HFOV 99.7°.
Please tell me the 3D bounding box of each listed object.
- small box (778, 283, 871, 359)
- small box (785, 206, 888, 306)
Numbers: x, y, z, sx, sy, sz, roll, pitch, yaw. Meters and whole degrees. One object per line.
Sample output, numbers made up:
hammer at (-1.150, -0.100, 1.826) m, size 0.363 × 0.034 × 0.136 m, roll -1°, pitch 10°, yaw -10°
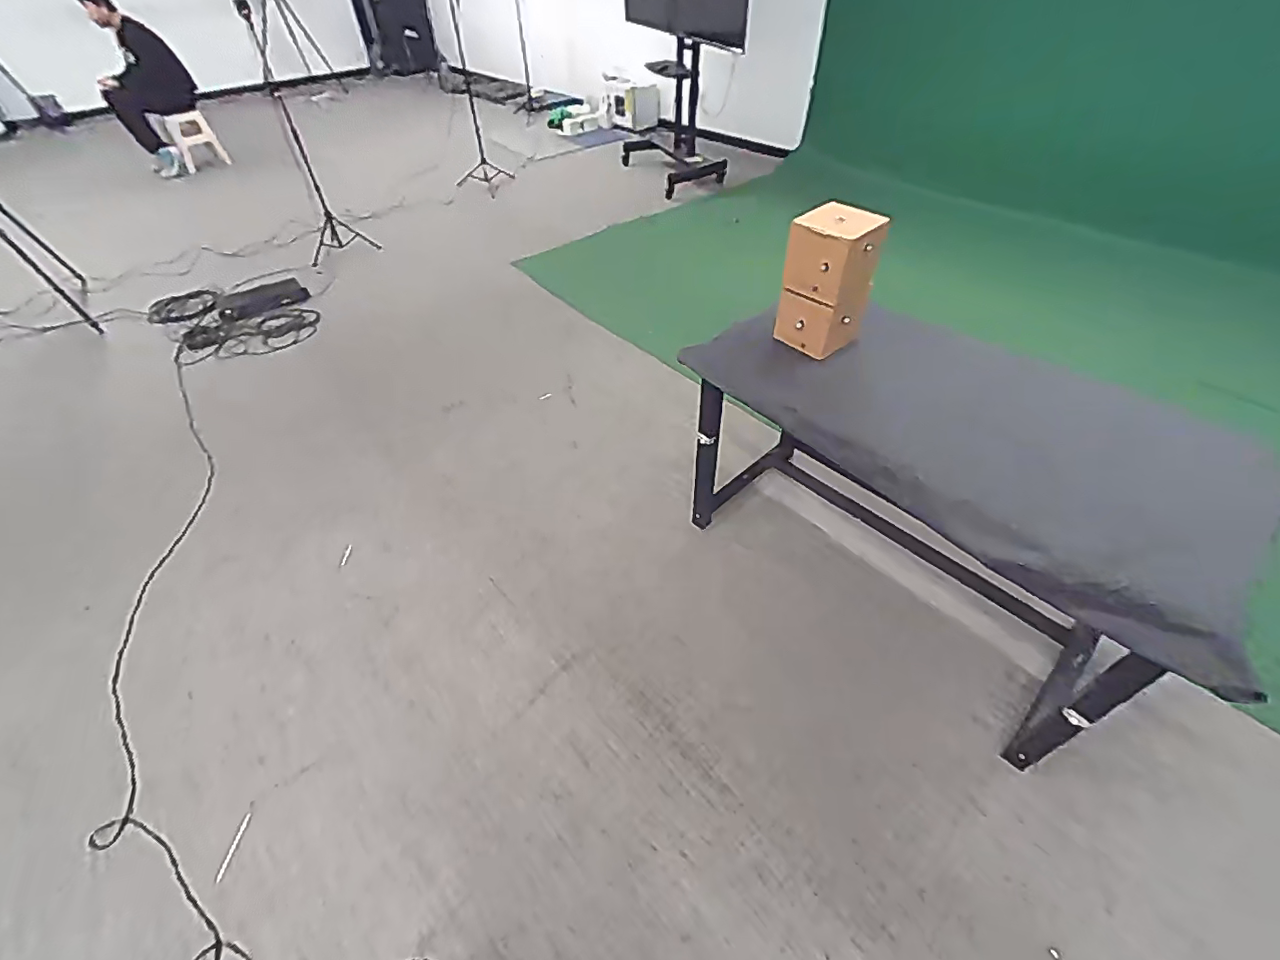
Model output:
small box at (0.500, -0.459, 1.492) m, size 0.179 × 0.176 × 0.168 m, roll -33°, pitch 54°, yaw -26°
small box at (0.487, -0.565, 1.368) m, size 0.179 × 0.176 × 0.168 m, roll -34°, pitch 55°, yaw -28°
